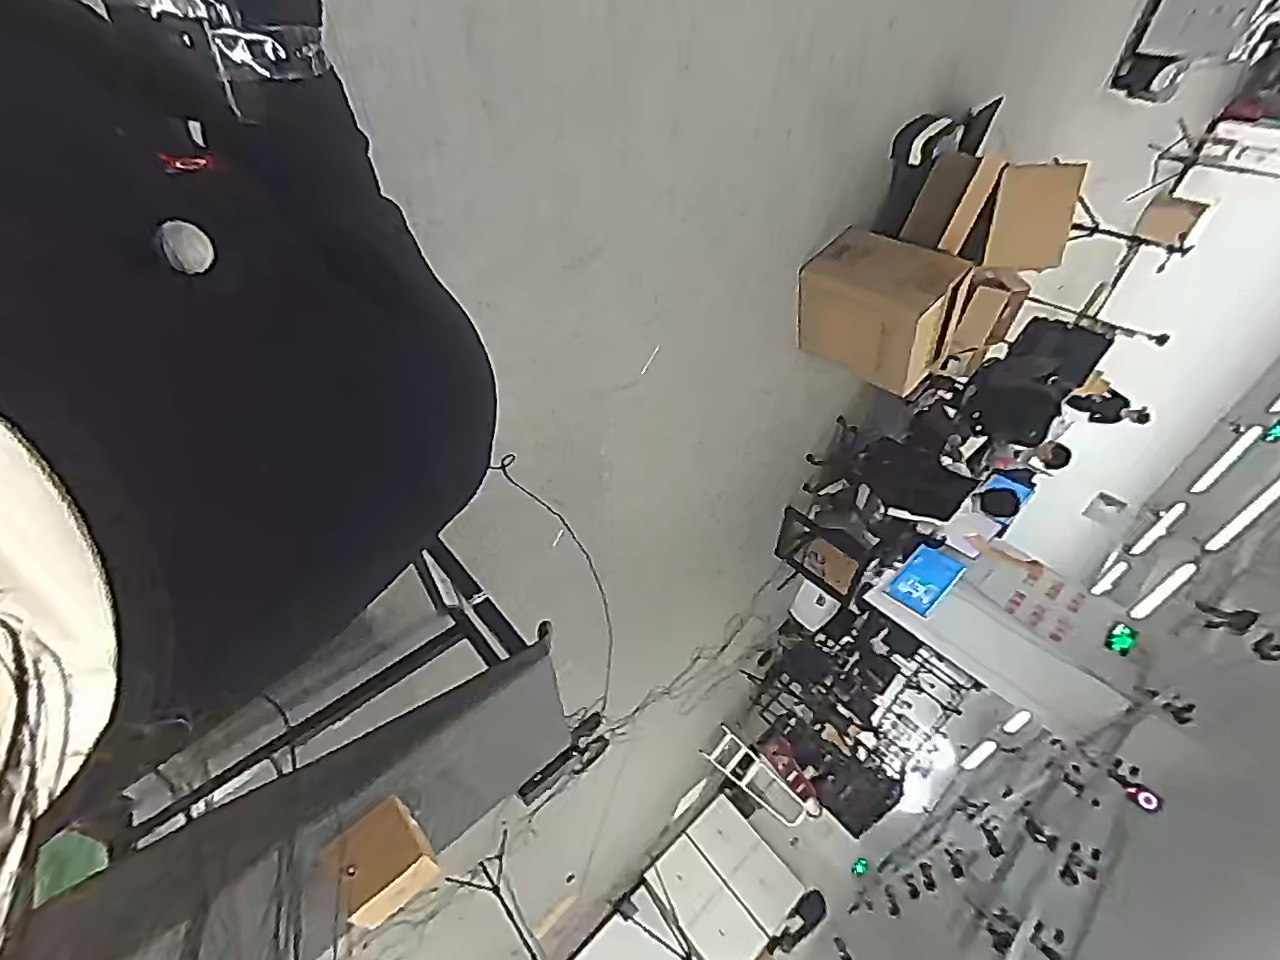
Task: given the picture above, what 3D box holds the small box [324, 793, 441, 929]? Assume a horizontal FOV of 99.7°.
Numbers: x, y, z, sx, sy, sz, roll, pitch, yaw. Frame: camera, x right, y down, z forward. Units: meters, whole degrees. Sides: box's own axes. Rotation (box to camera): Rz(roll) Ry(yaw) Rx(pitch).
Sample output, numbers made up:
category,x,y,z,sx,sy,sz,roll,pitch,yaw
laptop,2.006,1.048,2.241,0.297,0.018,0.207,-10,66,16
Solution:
category,x,y,z,sx,sy,sz,roll,pitch,yaw
small box,-0.596,0.874,1.247,0.179,0.176,0.168,-34,145,-29
